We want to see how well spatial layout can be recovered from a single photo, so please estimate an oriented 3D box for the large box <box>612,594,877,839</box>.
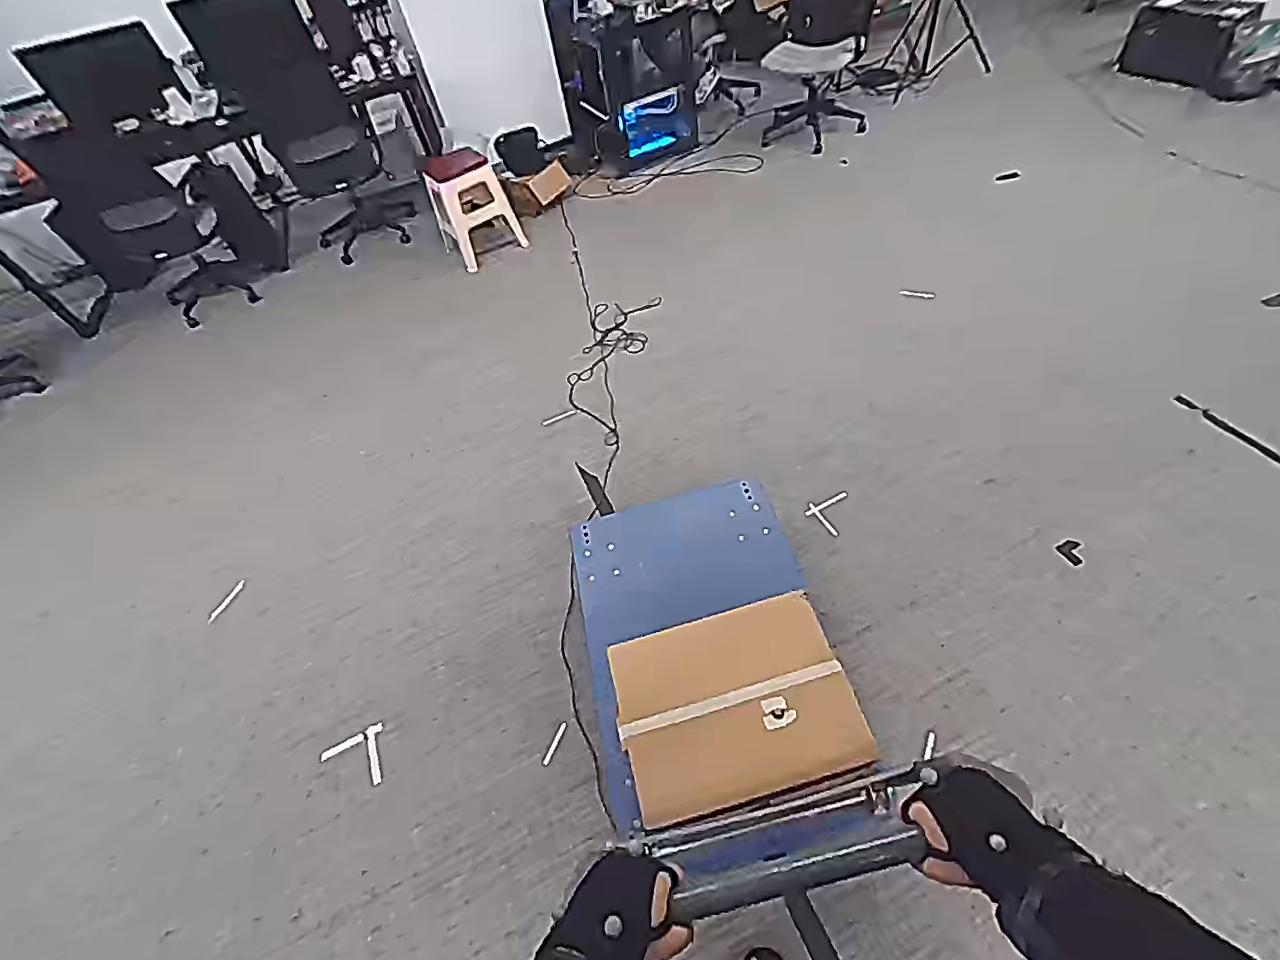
[{"bbox_3d":[0.190,0.486,1.095,0.408,0.320,0.320,-16,55,-2],"label":"large box"}]
